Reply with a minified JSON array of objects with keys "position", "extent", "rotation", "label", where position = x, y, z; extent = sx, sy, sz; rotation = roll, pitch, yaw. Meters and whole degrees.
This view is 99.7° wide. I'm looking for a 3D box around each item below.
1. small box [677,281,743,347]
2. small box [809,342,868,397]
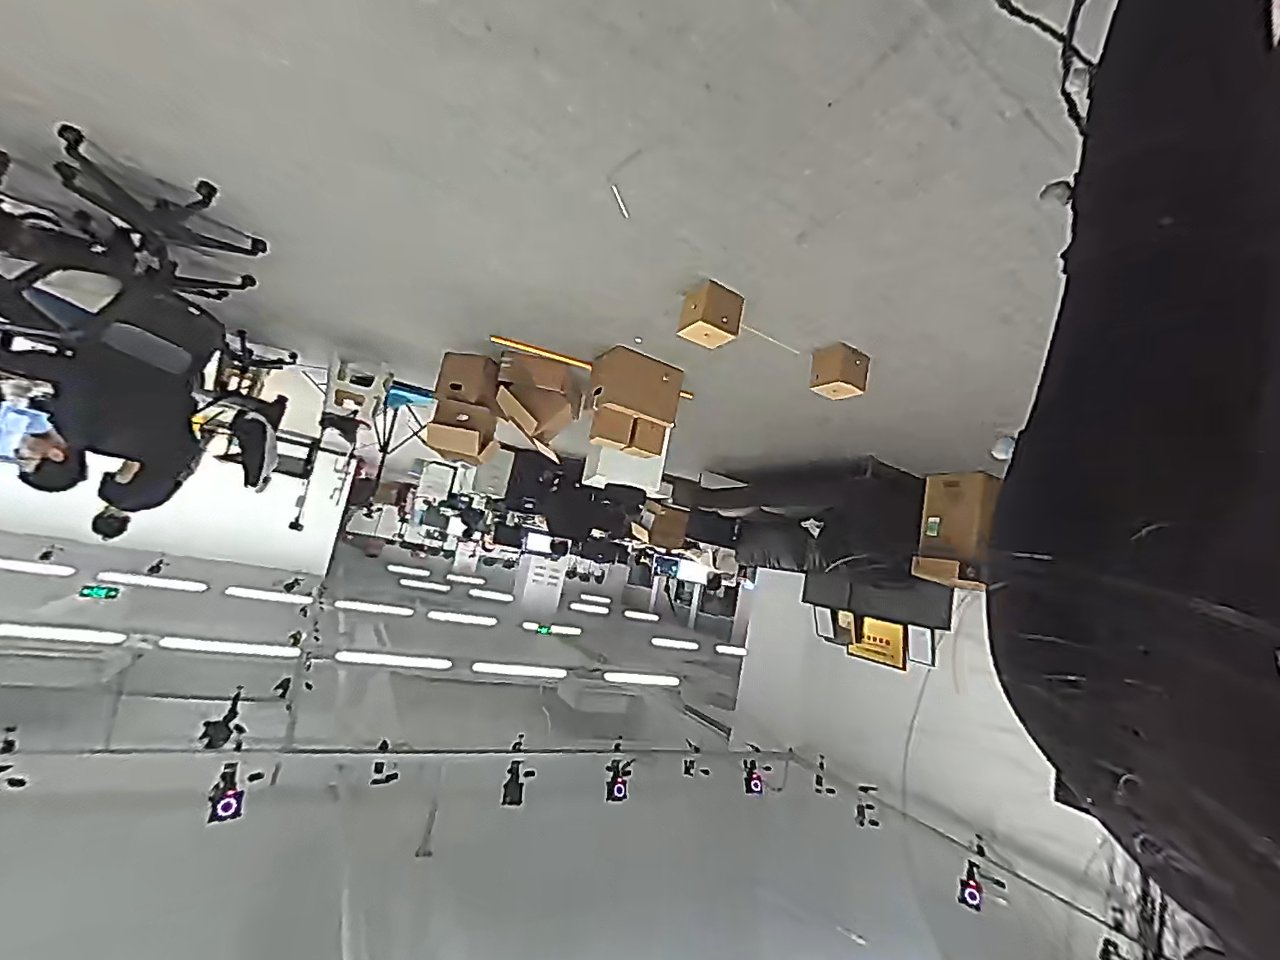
[{"position":[0.265,-0.630,2.046],"extent":[0.179,0.176,0.168],"rotation":[14,171,-27],"label":"small box"},{"position":[0.864,-0.478,2.344],"extent":[0.168,0.176,0.179],"rotation":[14,171,-27],"label":"small box"}]
